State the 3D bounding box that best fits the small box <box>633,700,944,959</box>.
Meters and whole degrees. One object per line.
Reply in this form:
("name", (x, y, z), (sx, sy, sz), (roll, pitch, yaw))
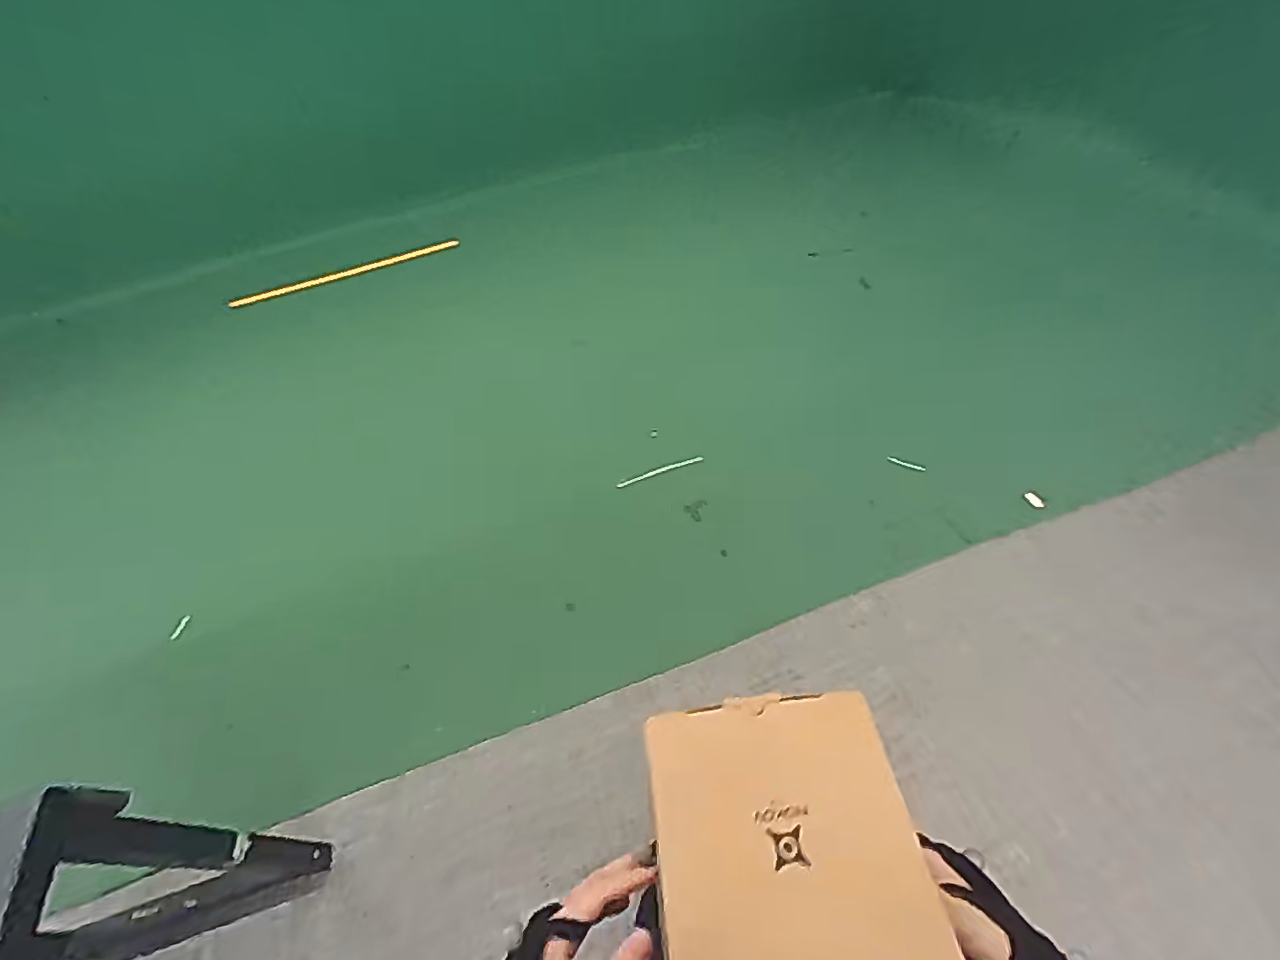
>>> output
("small box", (0.089, 0.291, 0.402), (0.168, 0.176, 0.179), (-7, 46, -3))
